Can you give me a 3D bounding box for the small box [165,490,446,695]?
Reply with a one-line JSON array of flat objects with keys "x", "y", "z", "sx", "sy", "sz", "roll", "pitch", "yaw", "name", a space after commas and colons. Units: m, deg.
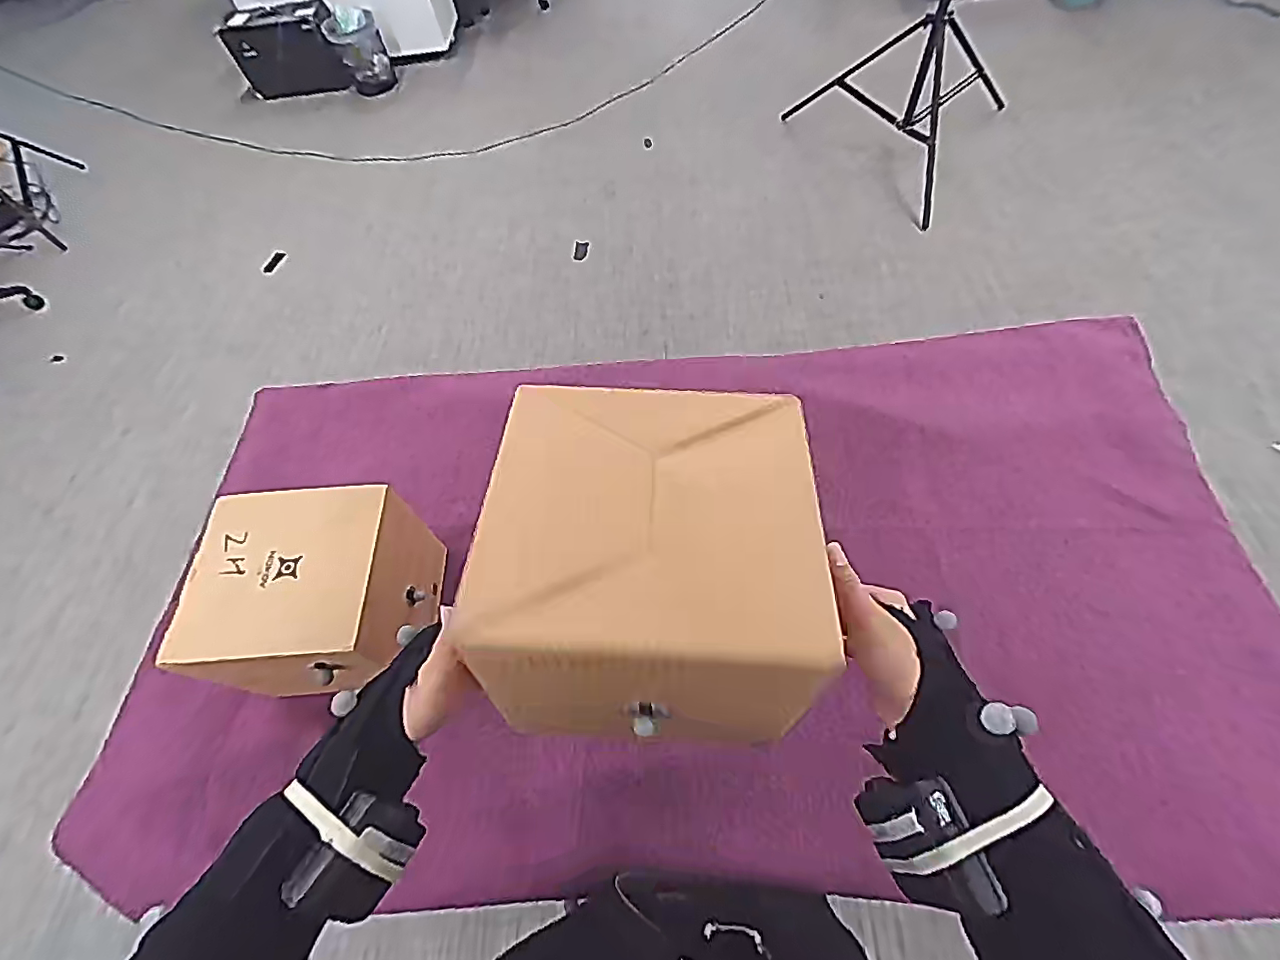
[{"x": -0.323, "y": 0.125, "z": 0.572, "sx": 0.179, "sy": 0.176, "sz": 0.168, "roll": -4, "pitch": 59, "yaw": 1, "name": "small box"}]
